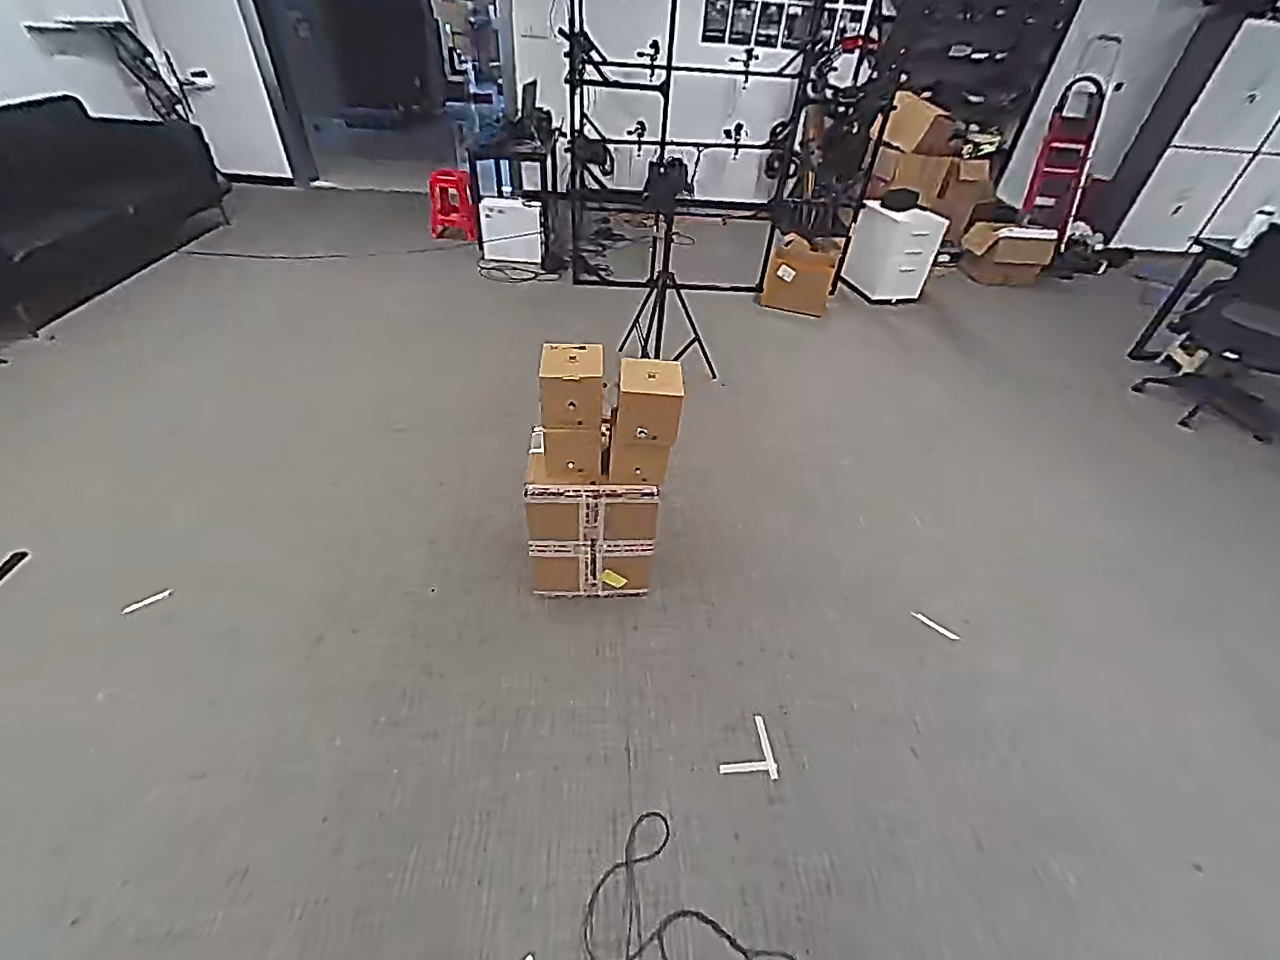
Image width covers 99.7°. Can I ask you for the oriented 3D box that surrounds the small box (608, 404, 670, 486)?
[{"bbox_3d":[-0.007,-0.105,1.602,0.168,0.176,0.179,1,42,-6],"label":"small box"}]

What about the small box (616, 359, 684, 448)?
[{"bbox_3d":[0.021,-0.210,1.479,0.168,0.176,0.179,3,43,-4],"label":"small box"}]

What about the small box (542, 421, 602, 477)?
[{"bbox_3d":[-0.200,-0.126,1.607,0.168,0.176,0.179,-2,44,-6],"label":"small box"}]

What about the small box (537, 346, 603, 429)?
[{"bbox_3d":[-0.189,-0.256,1.506,0.168,0.176,0.179,0,44,-4],"label":"small box"}]
